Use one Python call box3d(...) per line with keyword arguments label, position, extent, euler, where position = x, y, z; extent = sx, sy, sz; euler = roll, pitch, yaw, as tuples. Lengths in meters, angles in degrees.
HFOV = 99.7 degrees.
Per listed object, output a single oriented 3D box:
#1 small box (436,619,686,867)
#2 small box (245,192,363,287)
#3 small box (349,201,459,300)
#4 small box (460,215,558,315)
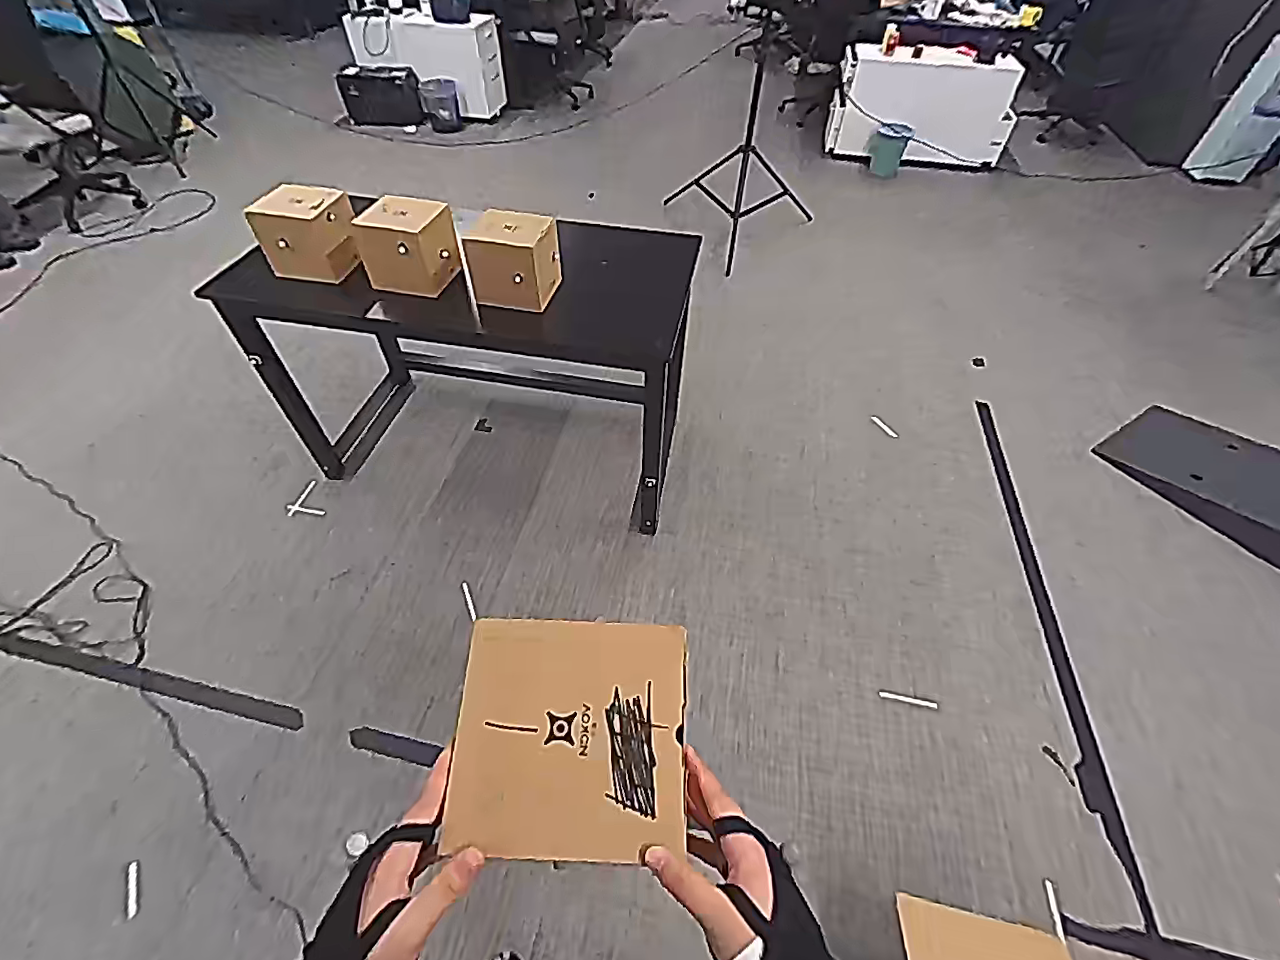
box3d(label="small box", position=(-0.054, 0.227, 0.483), extent=(0.179, 0.176, 0.168), euler=(2, 63, 1))
box3d(label="small box", position=(-0.846, -0.615, 1.388), extent=(0.179, 0.176, 0.168), euler=(7, 50, 5))
box3d(label="small box", position=(-0.578, -0.573, 1.357), extent=(0.179, 0.176, 0.168), euler=(10, 50, 7))
box3d(label="small box", position=(-0.310, -0.524, 1.326), extent=(0.179, 0.176, 0.168), euler=(9, 49, 8))
